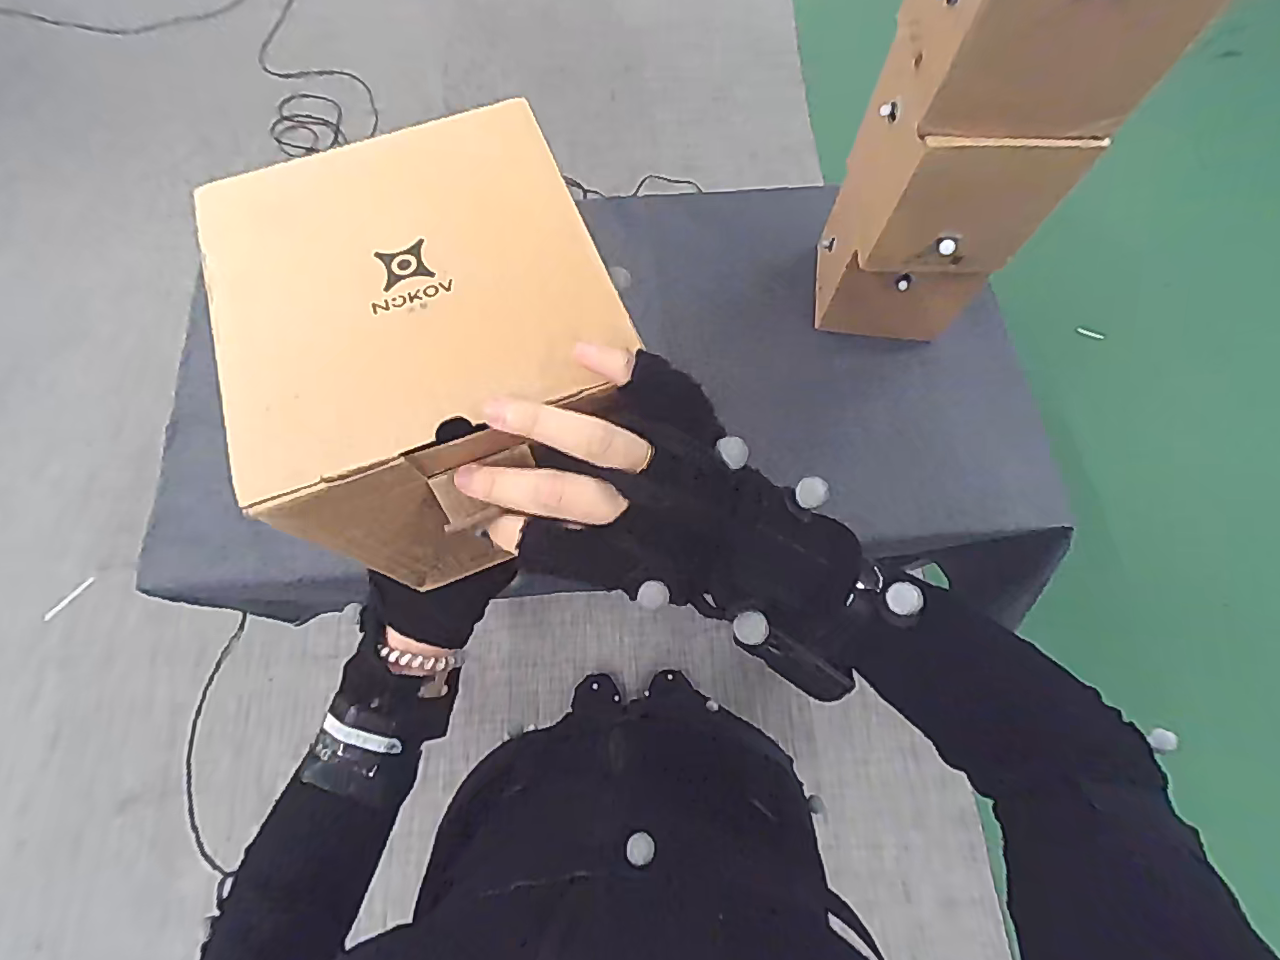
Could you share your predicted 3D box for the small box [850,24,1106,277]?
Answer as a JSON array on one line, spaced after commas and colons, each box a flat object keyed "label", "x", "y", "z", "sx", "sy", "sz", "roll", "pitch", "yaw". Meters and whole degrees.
[{"label": "small box", "x": 0.343, "y": -0.351, "z": 0.593, "sx": 0.168, "sy": 0.176, "sz": 0.179, "roll": 1, "pitch": 71, "yaw": 2}]

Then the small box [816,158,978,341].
[{"label": "small box", "x": 0.354, "y": -0.313, "z": 0.753, "sx": 0.179, "sy": 0.176, "sz": 0.168, "roll": 7, "pitch": 71, "yaw": 3}]

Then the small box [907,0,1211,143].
[{"label": "small box", "x": 0.337, "y": -0.408, "z": 0.440, "sx": 0.179, "sy": 0.176, "sz": 0.168, "roll": 4, "pitch": 71, "yaw": 2}]

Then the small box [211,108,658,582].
[{"label": "small box", "x": -0.098, "y": -0.061, "z": 0.312, "sx": 0.168, "sy": 0.176, "sz": 0.179, "roll": -20, "pitch": 70, "yaw": -7}]
